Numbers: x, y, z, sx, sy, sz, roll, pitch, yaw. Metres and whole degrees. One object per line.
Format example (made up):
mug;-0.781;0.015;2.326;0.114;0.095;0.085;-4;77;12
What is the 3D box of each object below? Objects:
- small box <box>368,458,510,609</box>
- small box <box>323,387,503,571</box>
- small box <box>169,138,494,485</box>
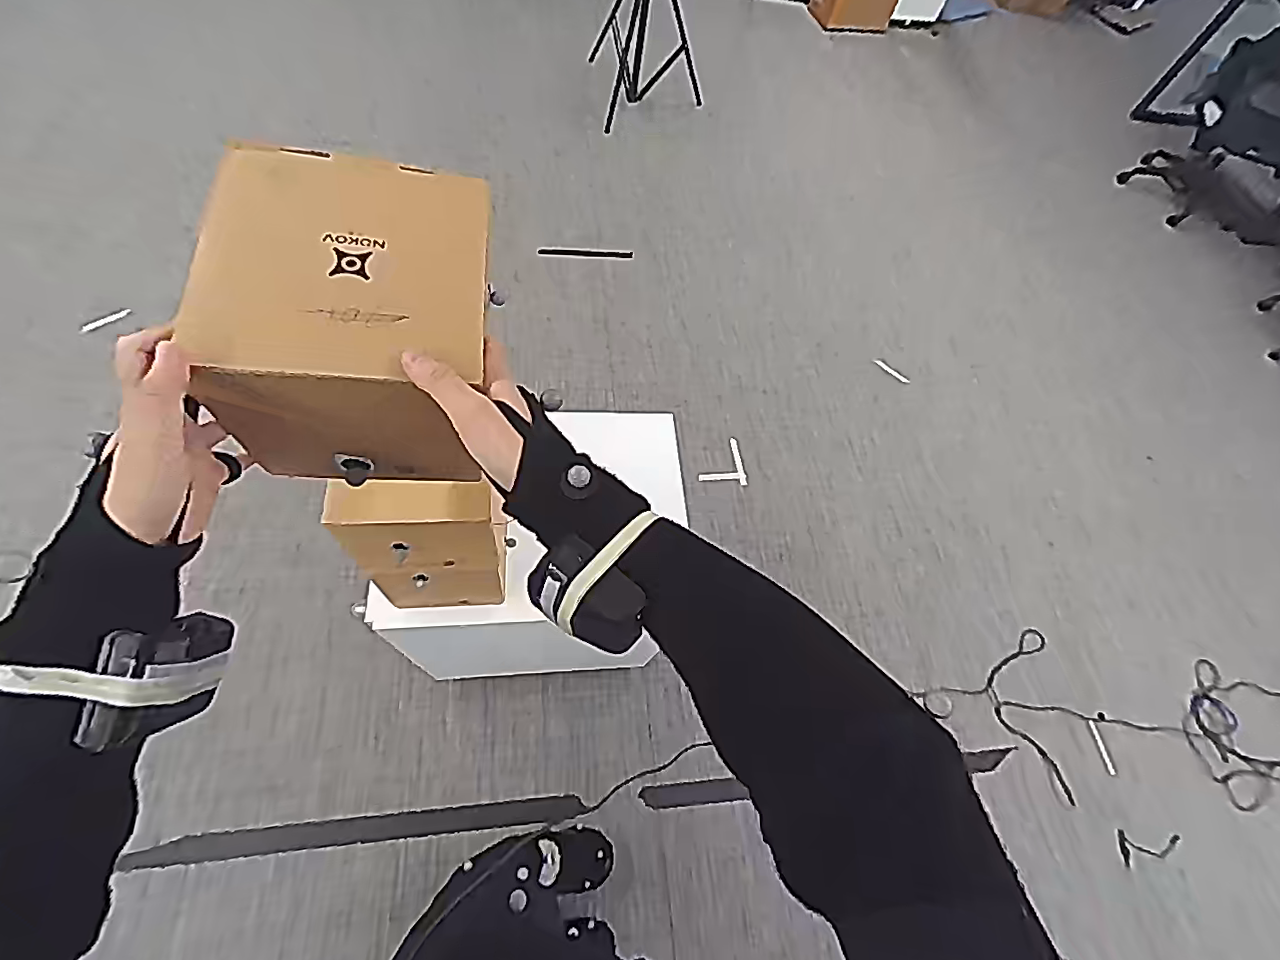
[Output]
small box;-0.282;0.079;0.798;0.168;0.176;0.179;0;61;-11
small box;-0.255;0.005;0.655;0.168;0.176;0.179;-1;62;-11
small box;-0.201;-0.109;0.411;0.168;0.176;0.179;1;69;-16
